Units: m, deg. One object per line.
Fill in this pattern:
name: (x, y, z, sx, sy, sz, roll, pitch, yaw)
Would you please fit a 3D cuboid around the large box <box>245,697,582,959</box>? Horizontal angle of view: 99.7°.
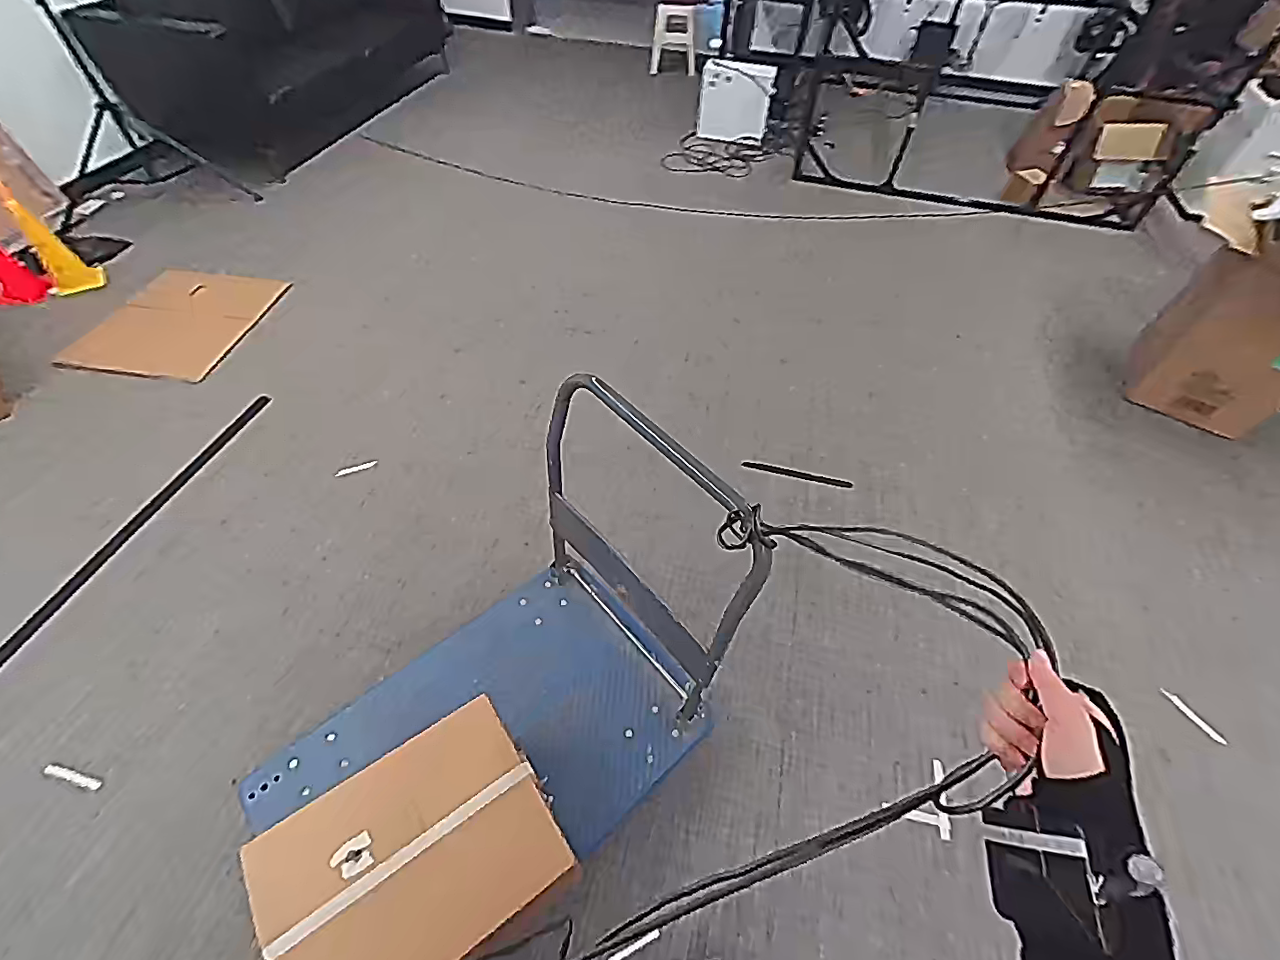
large box: (-0.349, 0.660, 0.929, 0.408, 0.320, 0.320, -28, 57, -23)
